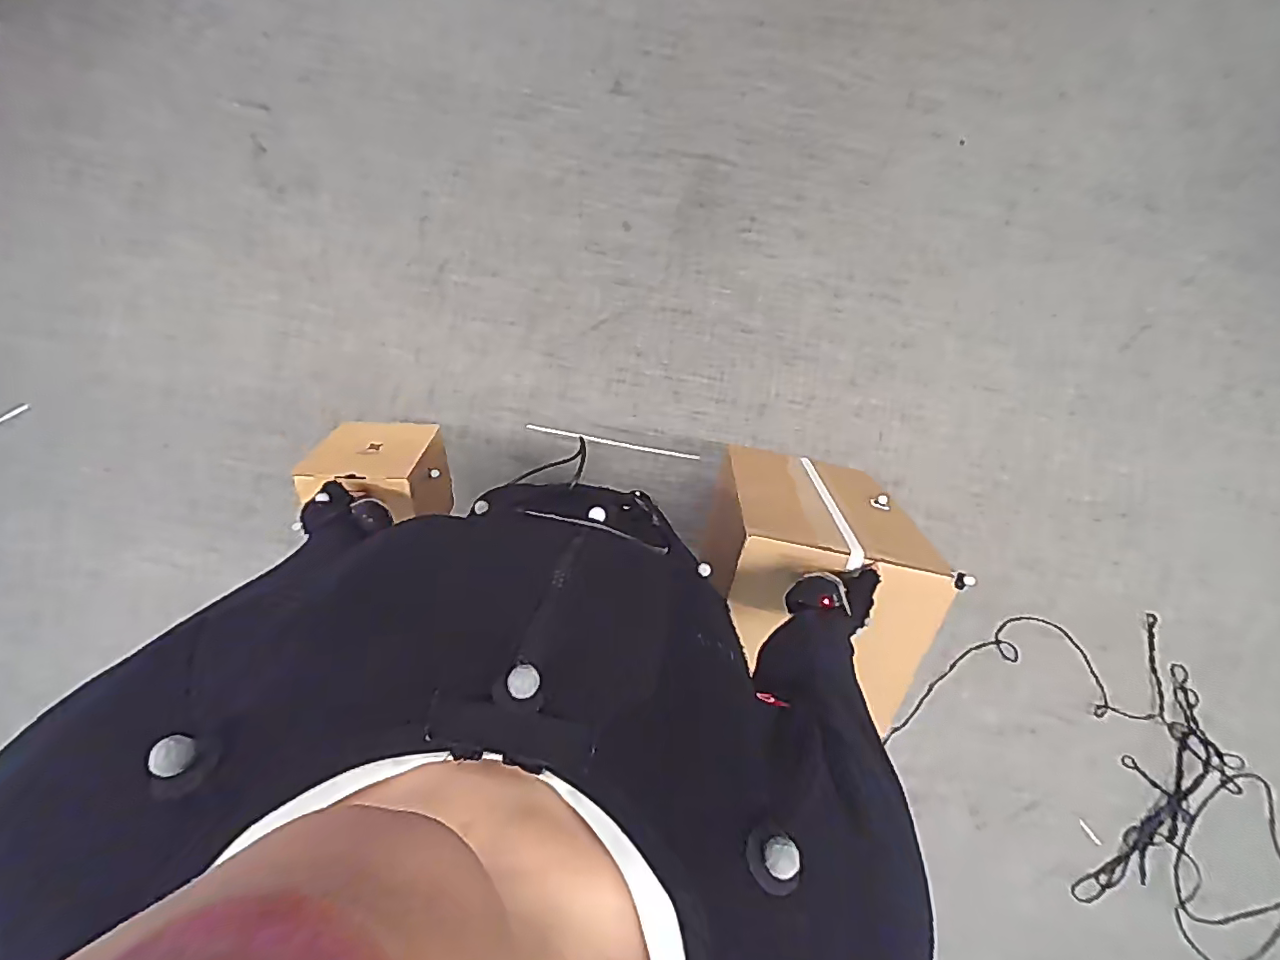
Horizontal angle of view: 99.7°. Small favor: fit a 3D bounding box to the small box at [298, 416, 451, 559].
[{"bbox_3d":[-0.424,0.009,0.901,0.168,0.179,0.176,1,124,-3],"label":"small box"}]
